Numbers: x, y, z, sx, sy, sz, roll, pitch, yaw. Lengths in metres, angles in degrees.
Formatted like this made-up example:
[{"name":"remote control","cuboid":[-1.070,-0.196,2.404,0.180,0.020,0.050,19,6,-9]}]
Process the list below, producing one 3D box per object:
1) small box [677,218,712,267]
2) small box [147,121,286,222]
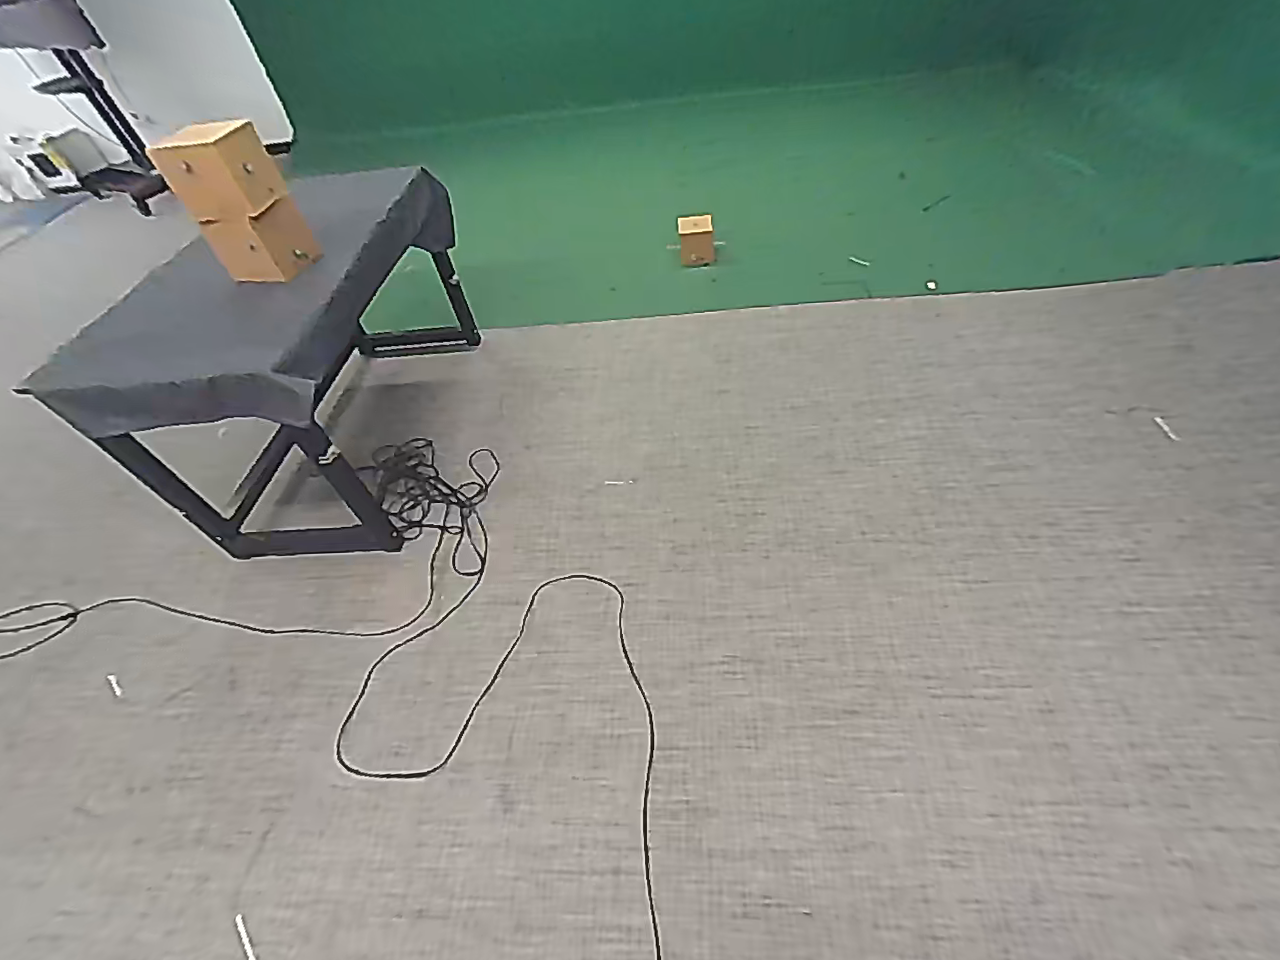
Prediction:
[{"name":"small box","cuboid":[0.275,-1.204,2.740,0.168,0.176,0.179,-4,49,6]},{"name":"small box","cuboid":[-1.028,-0.758,1.335,0.179,0.176,0.168,-1,49,7]}]
